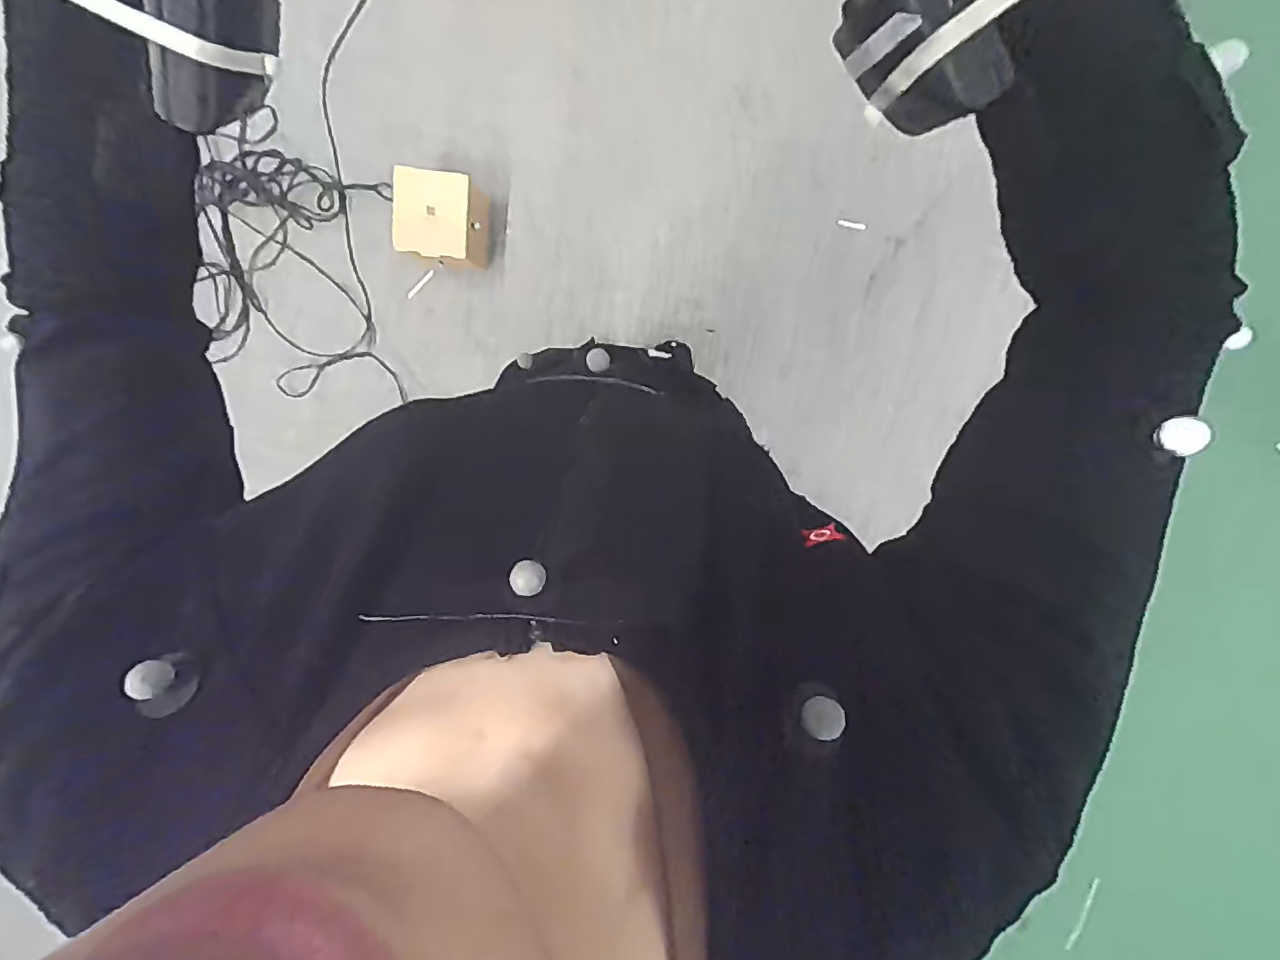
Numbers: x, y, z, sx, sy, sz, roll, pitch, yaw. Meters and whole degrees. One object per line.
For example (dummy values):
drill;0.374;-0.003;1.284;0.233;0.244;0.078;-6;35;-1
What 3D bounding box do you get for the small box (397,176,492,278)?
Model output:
small box;-0.455;-0.589;1.277;0.168;0.176;0.179;6;103;-1
